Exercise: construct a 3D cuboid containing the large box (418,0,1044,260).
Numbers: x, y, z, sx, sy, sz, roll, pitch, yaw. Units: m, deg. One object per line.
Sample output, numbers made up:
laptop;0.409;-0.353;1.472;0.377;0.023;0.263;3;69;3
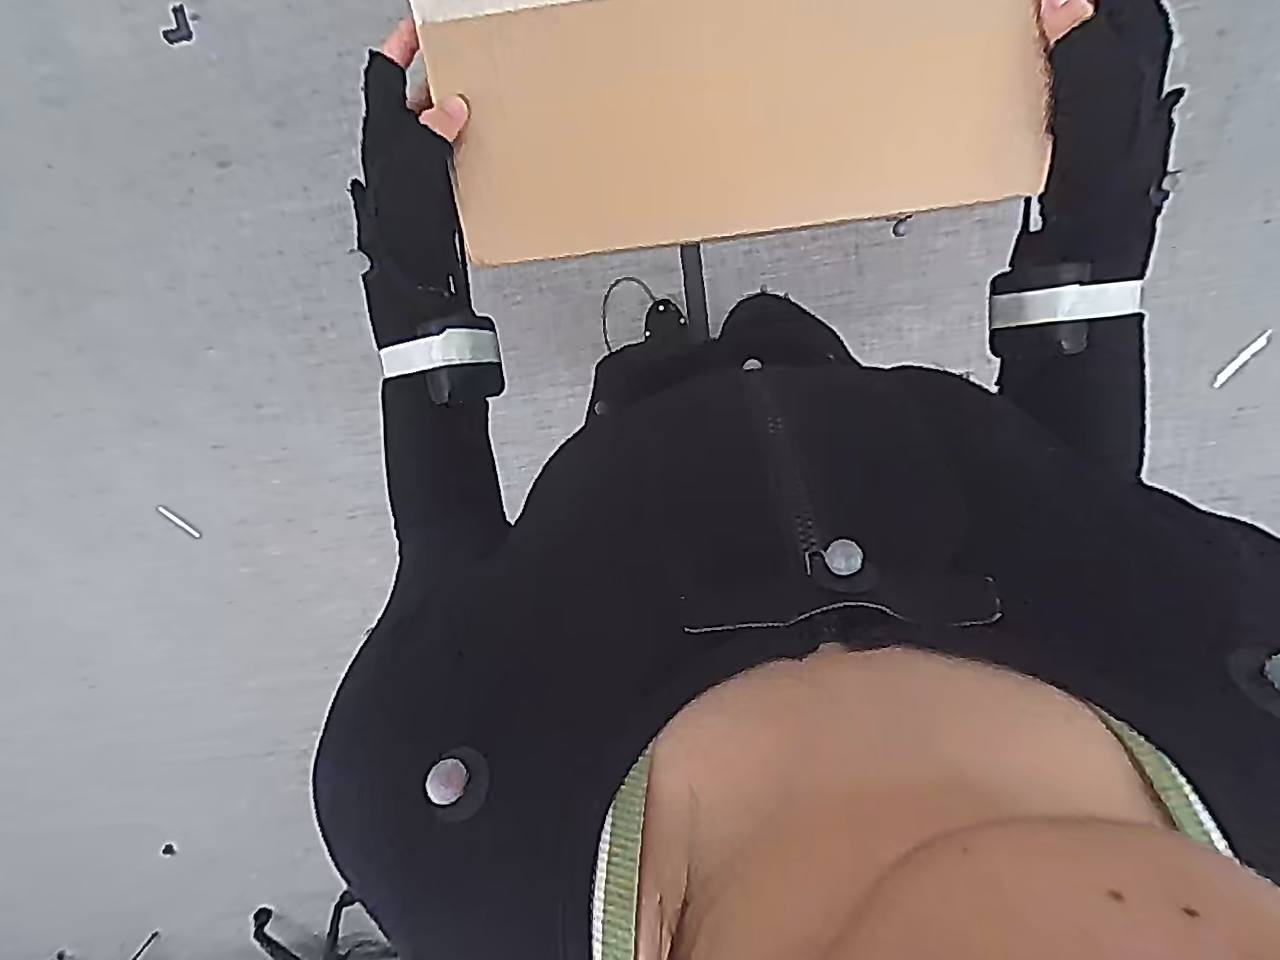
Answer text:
large box;0.058;-0.387;0.469;0.408;0.320;0.320;-5;113;4
